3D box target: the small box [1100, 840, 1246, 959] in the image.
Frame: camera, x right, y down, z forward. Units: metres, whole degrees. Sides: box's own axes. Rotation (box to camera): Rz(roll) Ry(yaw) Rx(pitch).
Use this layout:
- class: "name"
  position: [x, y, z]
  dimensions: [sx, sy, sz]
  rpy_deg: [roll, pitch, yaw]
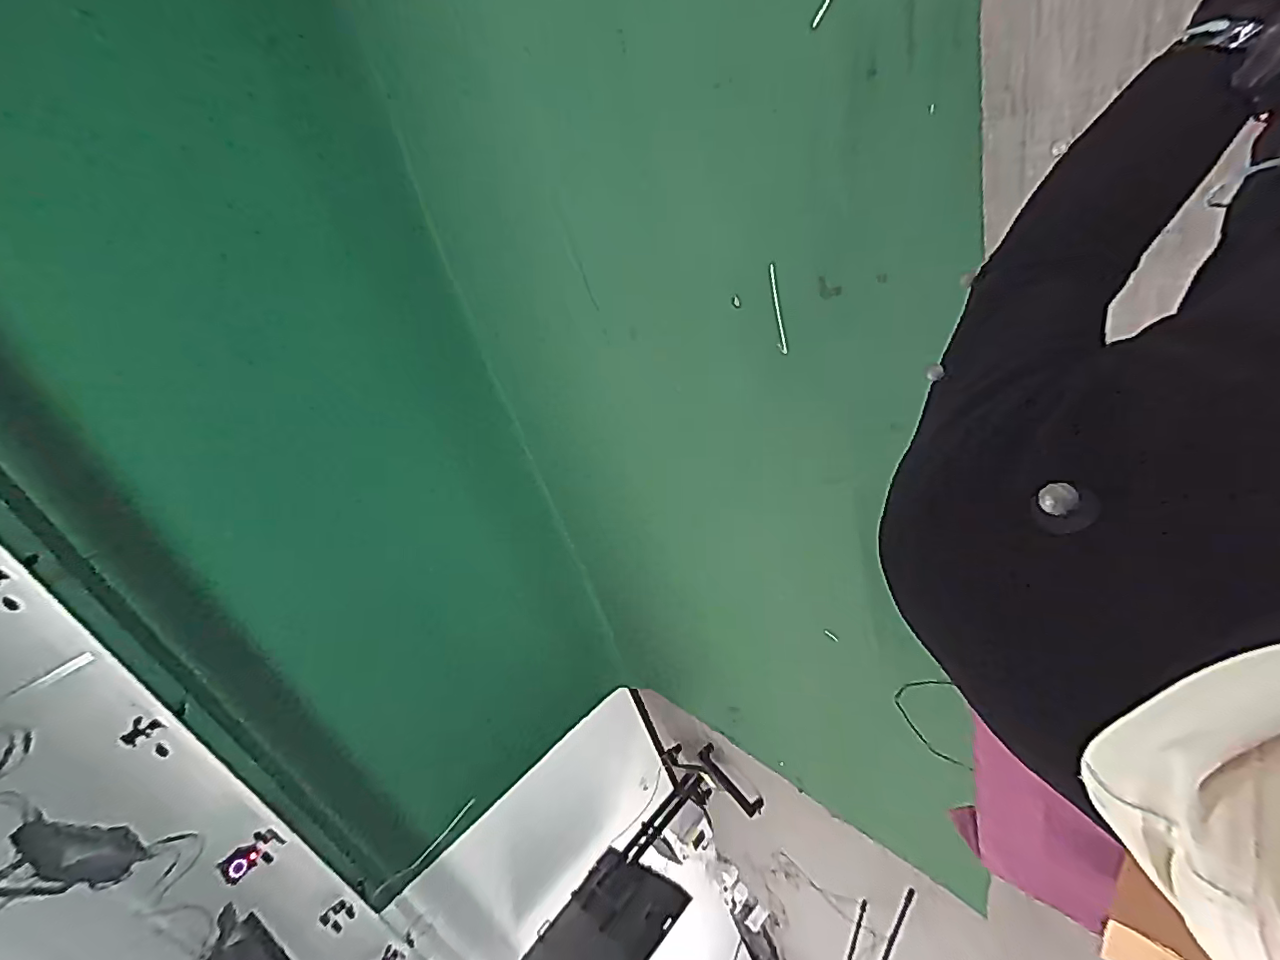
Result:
- class: "small box"
  position: [1.018, 0.850, 1.035]
  dimensions: [0.168, 0.176, 0.179]
  rpy_deg: [15, 132, 46]
